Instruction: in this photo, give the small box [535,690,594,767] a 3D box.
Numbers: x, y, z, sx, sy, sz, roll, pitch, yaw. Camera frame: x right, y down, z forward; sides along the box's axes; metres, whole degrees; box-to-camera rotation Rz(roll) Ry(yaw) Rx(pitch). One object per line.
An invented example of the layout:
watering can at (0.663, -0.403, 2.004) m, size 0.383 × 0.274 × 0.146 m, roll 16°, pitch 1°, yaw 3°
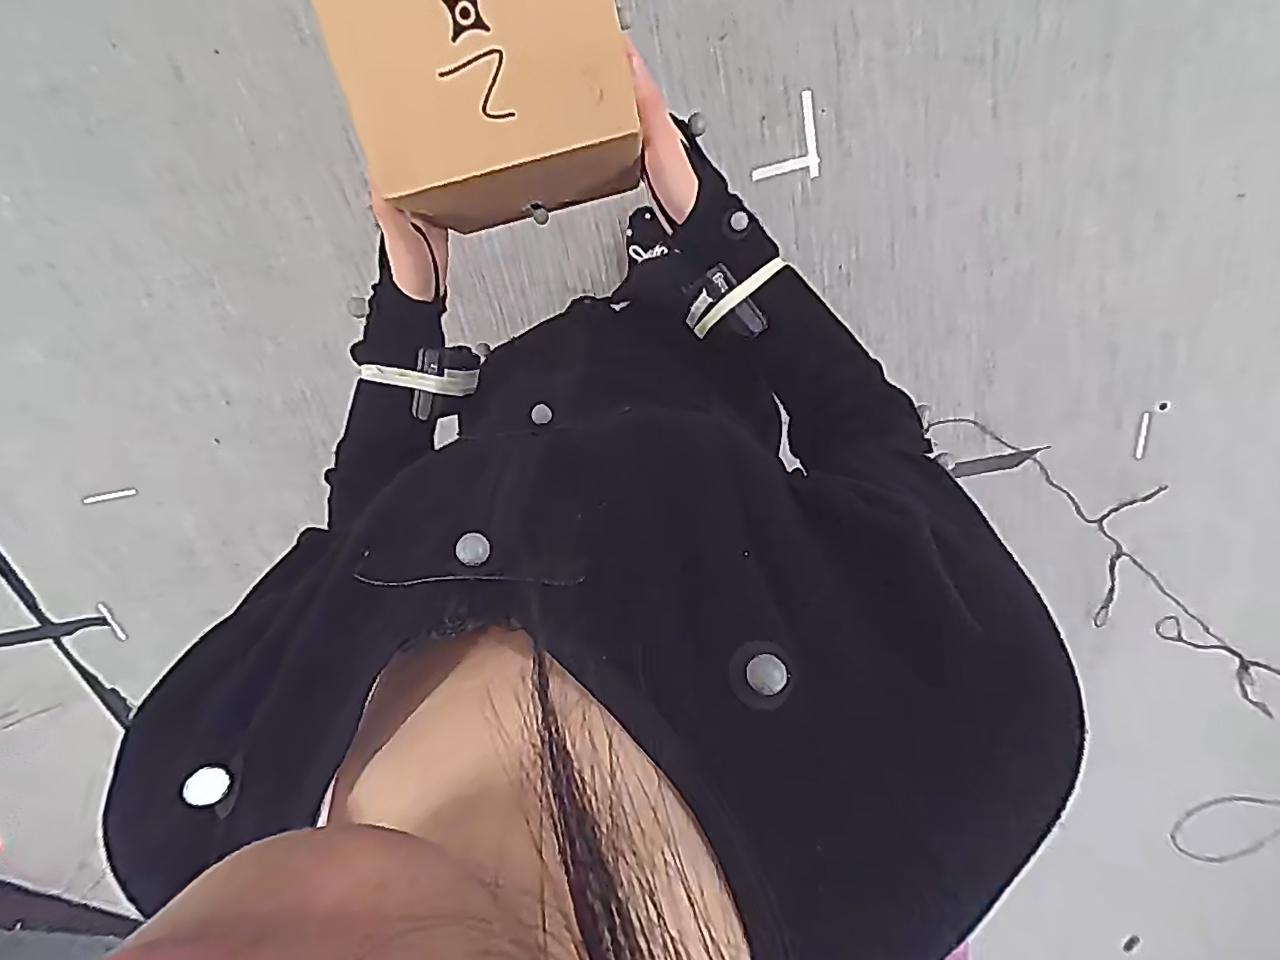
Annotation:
small box at (-0.246, 0.816, 1.784) m, size 0.179 × 0.176 × 0.168 m, roll 4°, pitch 111°, yaw -6°
